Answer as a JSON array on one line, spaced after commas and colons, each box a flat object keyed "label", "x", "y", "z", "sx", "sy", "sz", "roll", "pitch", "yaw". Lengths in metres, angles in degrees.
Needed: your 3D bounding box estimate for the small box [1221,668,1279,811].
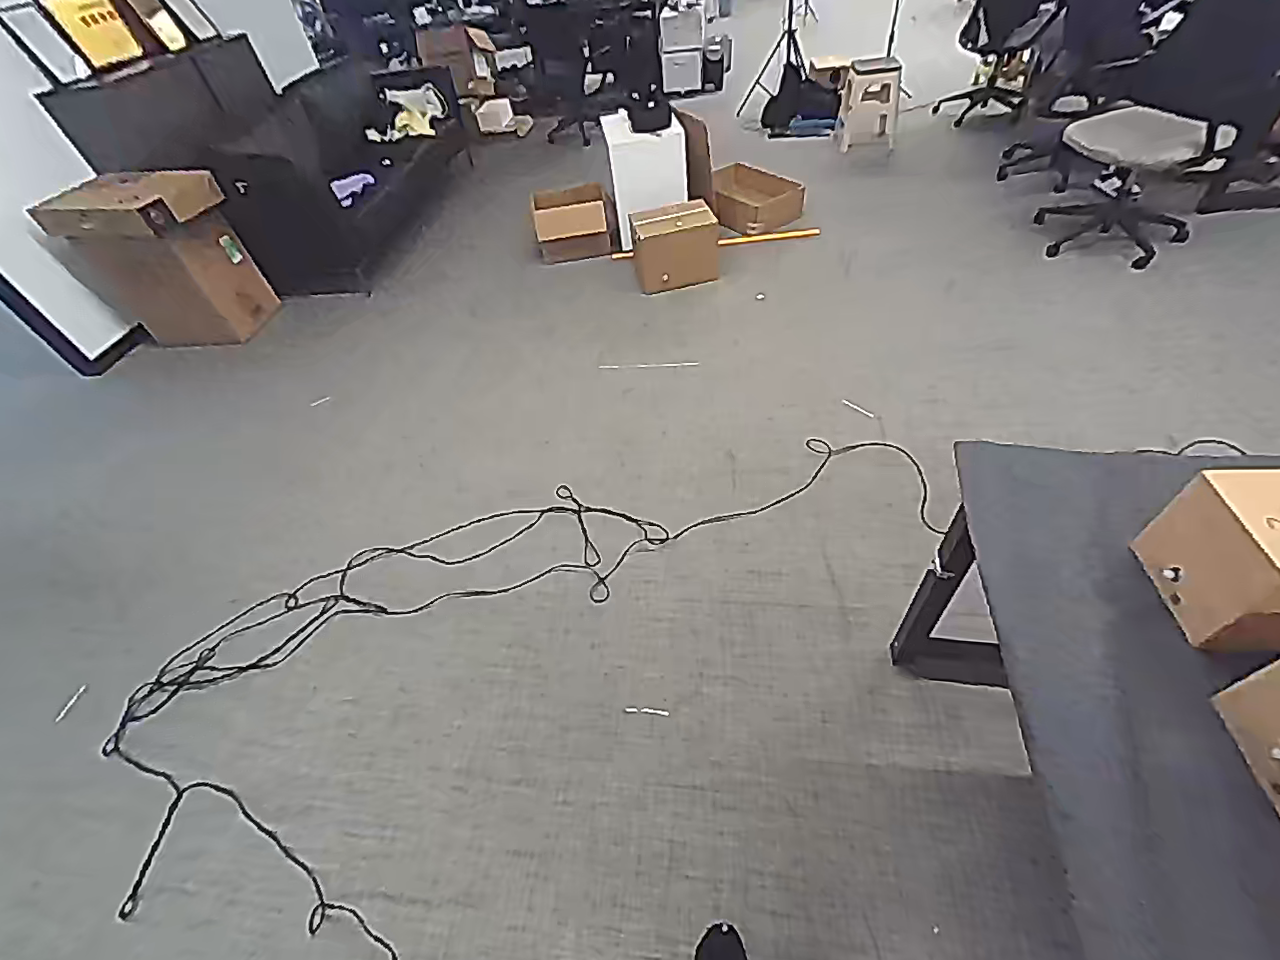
[{"label": "small box", "x": 0.758, "y": 0.265, "z": 0.526, "sx": 0.179, "sy": 0.176, "sz": 0.168, "roll": 0, "pitch": 48, "yaw": 8}]
